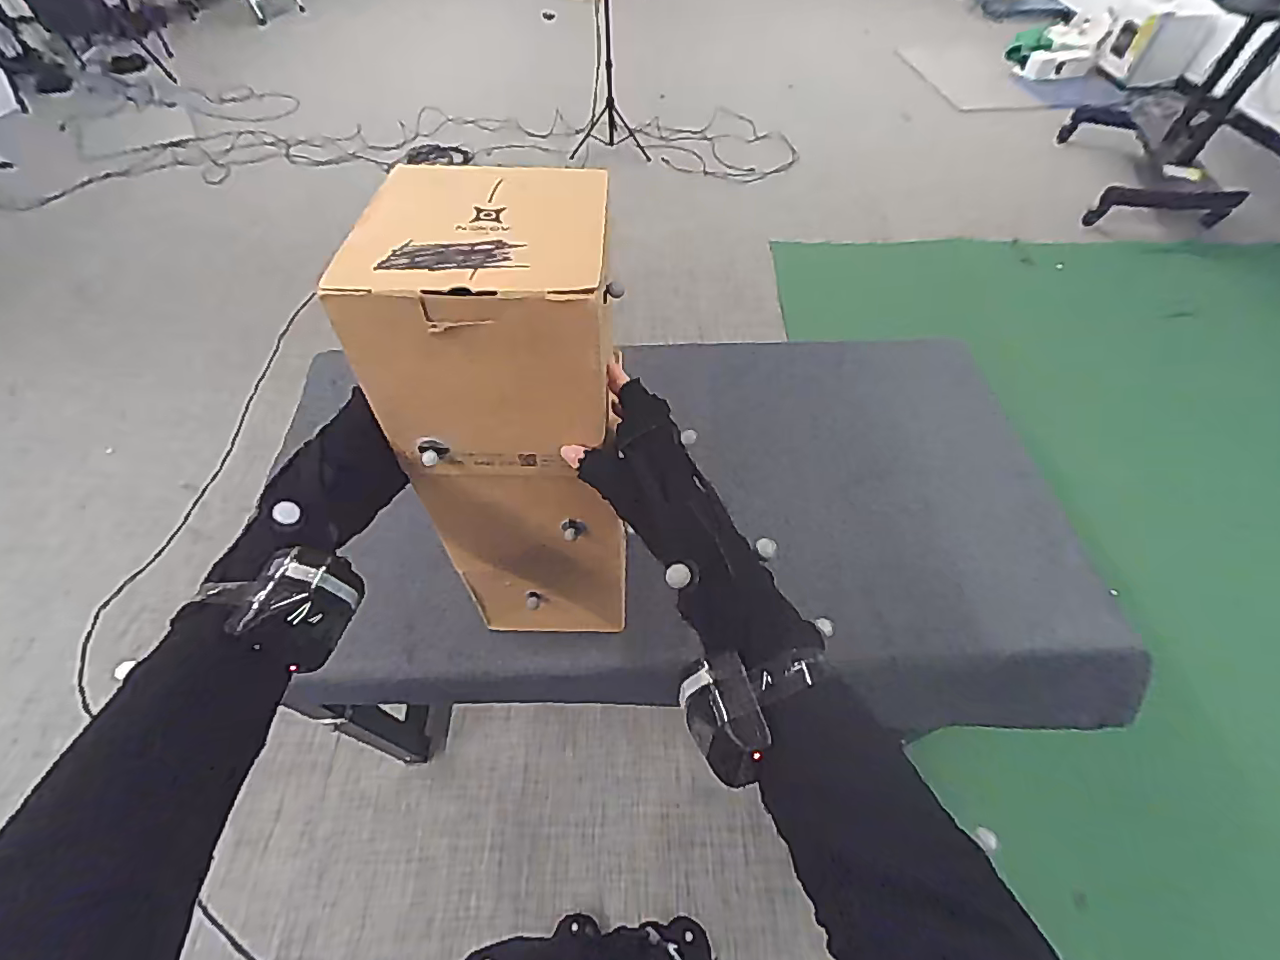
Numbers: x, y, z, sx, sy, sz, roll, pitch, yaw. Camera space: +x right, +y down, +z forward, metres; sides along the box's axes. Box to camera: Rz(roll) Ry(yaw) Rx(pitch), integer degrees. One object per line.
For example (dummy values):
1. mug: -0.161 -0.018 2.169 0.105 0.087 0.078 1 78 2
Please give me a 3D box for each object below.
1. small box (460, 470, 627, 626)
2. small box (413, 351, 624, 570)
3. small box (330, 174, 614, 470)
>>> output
1. small box: -0.108 0.079 0.696 0.179 0.176 0.168 1 53 0
2. small box: -0.105 -0.017 0.565 0.179 0.176 0.168 0 51 0
3. small box: -0.107 -0.123 0.440 0.168 0.176 0.179 2 50 -1
